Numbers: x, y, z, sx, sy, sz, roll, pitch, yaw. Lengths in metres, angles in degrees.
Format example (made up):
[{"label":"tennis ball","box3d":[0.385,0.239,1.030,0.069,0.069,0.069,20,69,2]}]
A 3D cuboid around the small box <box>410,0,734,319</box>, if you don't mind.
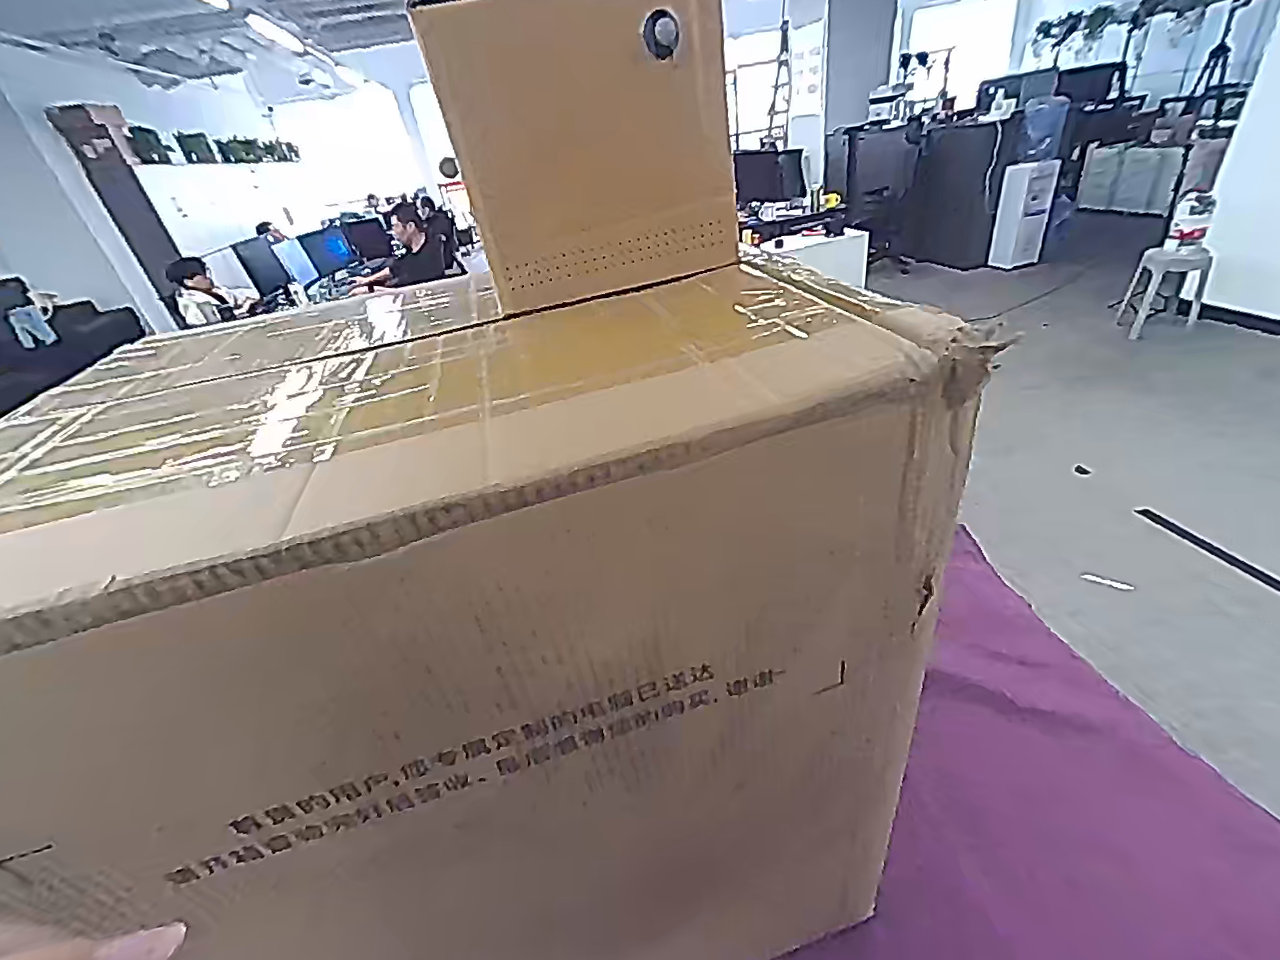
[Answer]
[{"label":"small box","box3d":[-0.043,-0.230,0.400,0.179,0.176,0.168,-15,32,-7]}]
